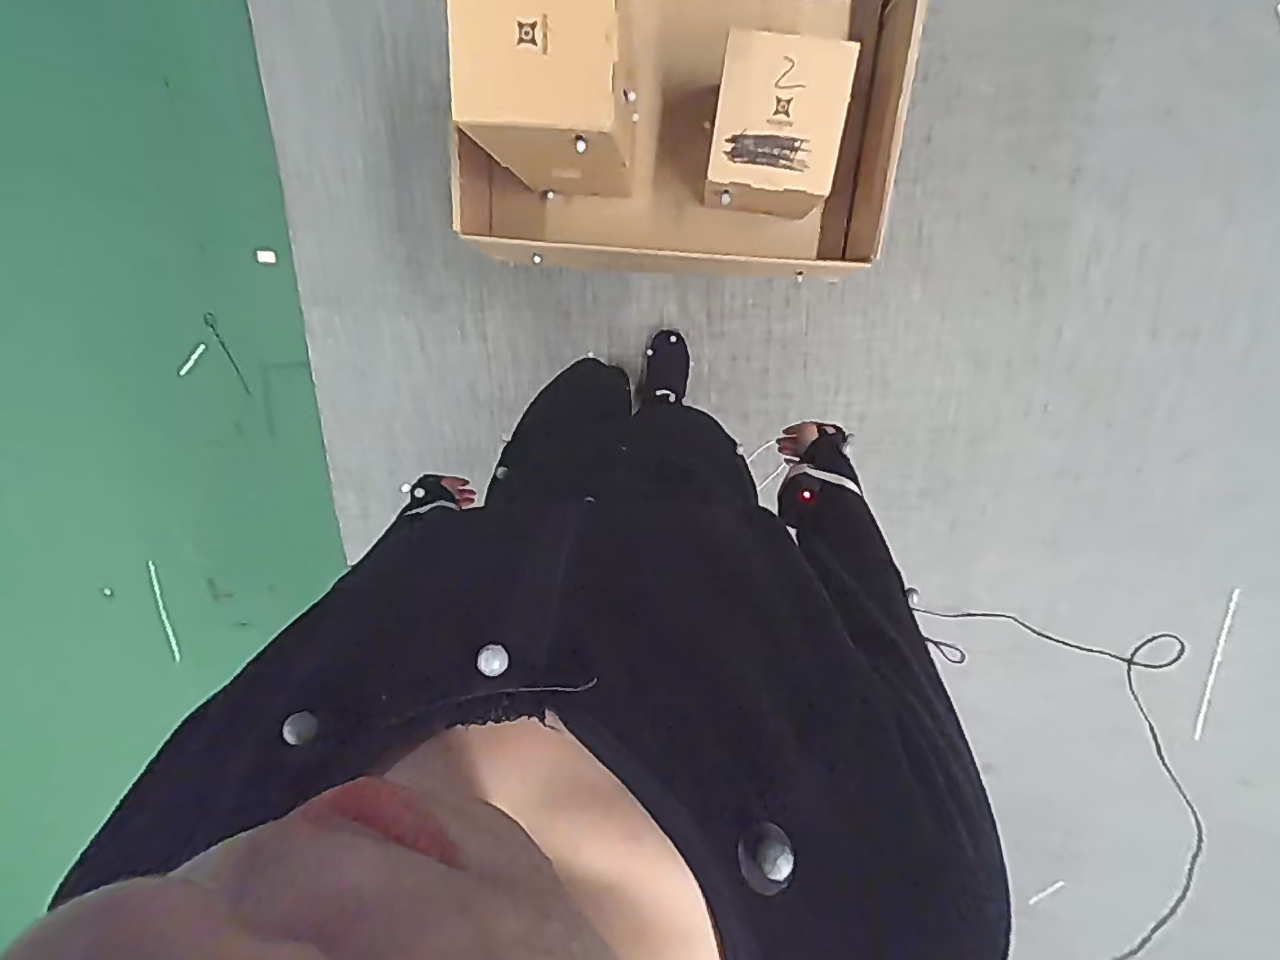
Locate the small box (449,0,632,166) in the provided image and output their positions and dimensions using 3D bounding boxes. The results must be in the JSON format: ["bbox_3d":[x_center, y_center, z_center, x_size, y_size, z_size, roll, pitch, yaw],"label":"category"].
[{"bbox_3d":[-0.105,-0.480,0.627,0.179,0.176,0.168,4,107,1],"label":"small box"}]
